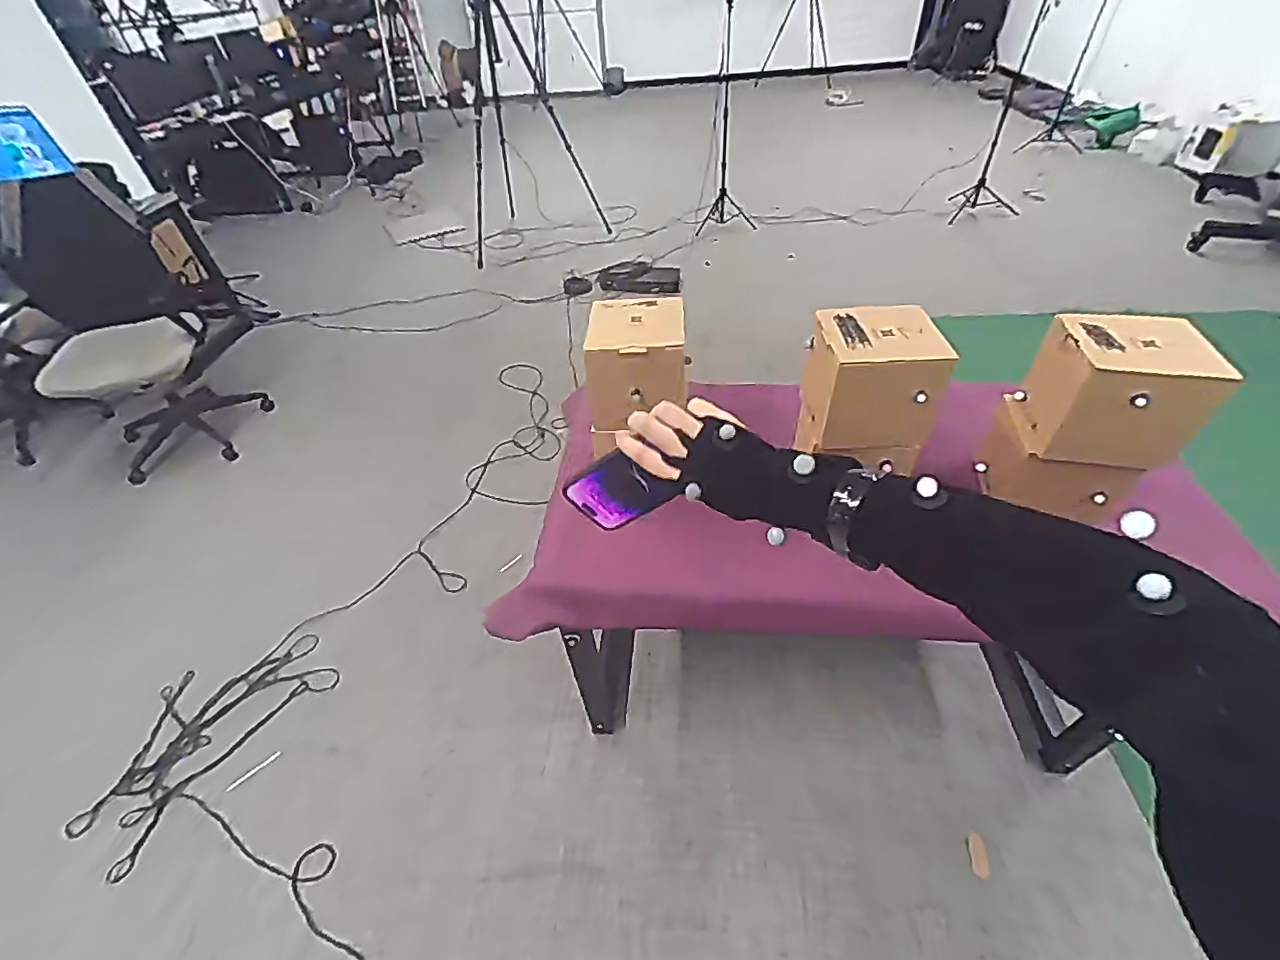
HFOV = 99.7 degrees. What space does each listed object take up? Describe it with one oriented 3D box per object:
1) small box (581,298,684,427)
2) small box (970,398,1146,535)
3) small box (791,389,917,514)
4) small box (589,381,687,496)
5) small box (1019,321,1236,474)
[{"bbox_3d":[-0.004,-0.208,0.975,0.168,0.176,0.179,0,45,4],"label":"small box"},{"bbox_3d":[0.722,-0.022,0.959,0.179,0.176,0.168,8,45,13],"label":"small box"},{"bbox_3d":[0.388,-0.051,1.015,0.179,0.176,0.168,3,45,8],"label":"small box"},{"bbox_3d":[0.005,-0.086,1.085,0.168,0.176,0.179,4,45,8],"label":"small box"},{"bbox_3d":[0.720,-0.127,0.833,0.179,0.176,0.168,8,45,12],"label":"small box"}]
